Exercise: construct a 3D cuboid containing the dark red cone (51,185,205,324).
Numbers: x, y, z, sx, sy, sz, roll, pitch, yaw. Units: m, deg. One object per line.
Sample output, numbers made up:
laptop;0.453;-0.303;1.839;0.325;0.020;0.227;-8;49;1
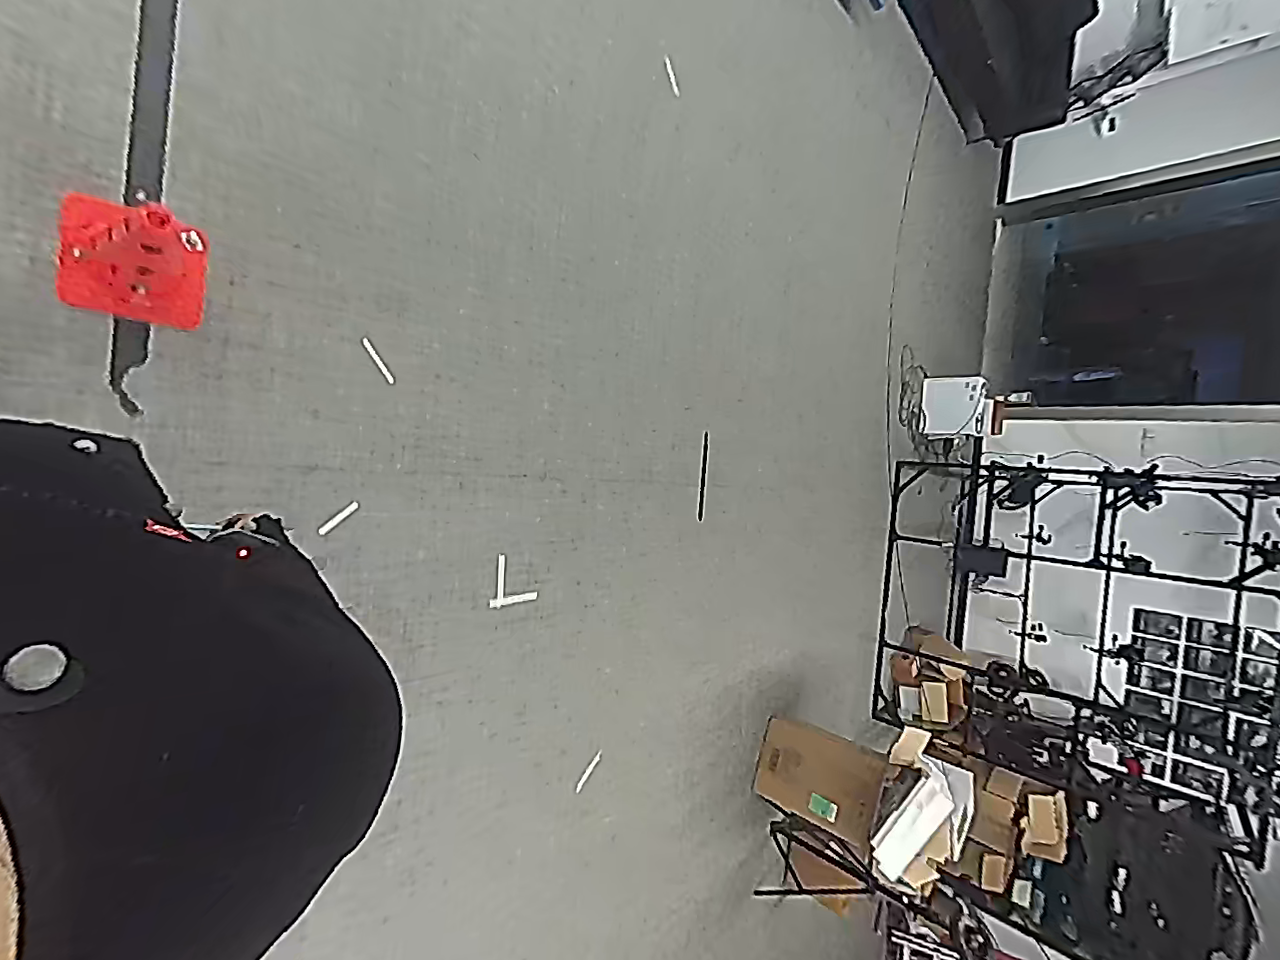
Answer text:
dark red cone;-0.803;-0.384;0.869;0.201;0.394;0.202;3;93;-46
